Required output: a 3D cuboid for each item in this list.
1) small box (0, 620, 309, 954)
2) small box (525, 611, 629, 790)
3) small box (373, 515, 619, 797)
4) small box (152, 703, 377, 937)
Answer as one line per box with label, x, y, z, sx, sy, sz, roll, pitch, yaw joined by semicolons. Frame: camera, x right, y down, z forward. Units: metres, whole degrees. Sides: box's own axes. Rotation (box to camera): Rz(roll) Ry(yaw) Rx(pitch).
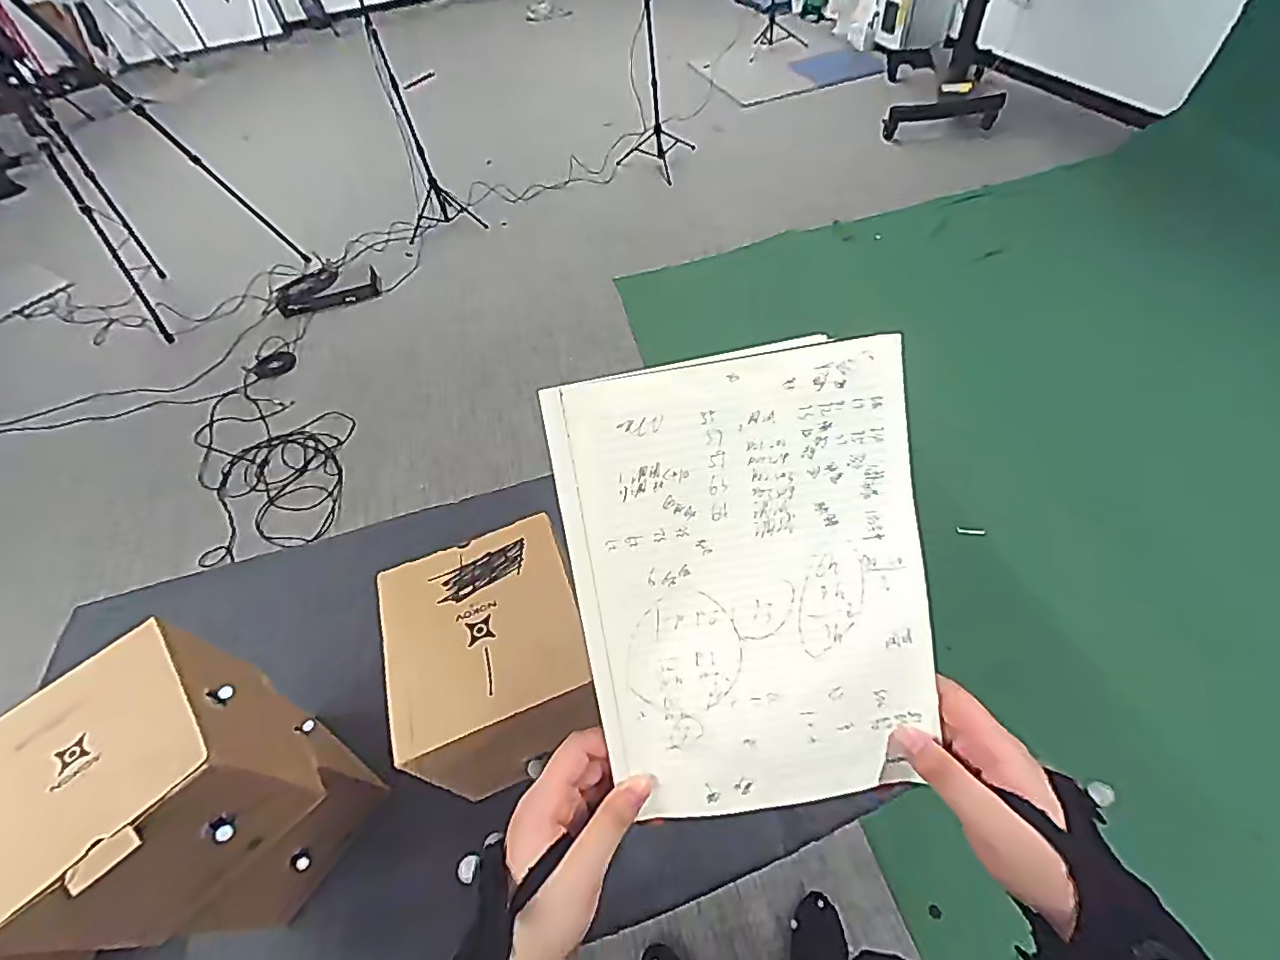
small box;-0.442;0.267;0.483;0.168;0.176;0.179;-40;57;-23
small box;-0.119;0.259;0.654;0.179;0.176;0.168;6;53;13
small box;-0.131;0.170;0.516;0.168;0.176;0.179;-21;52;-7
small box;-0.443;0.365;0.613;0.179;0.176;0.168;25;58;24
